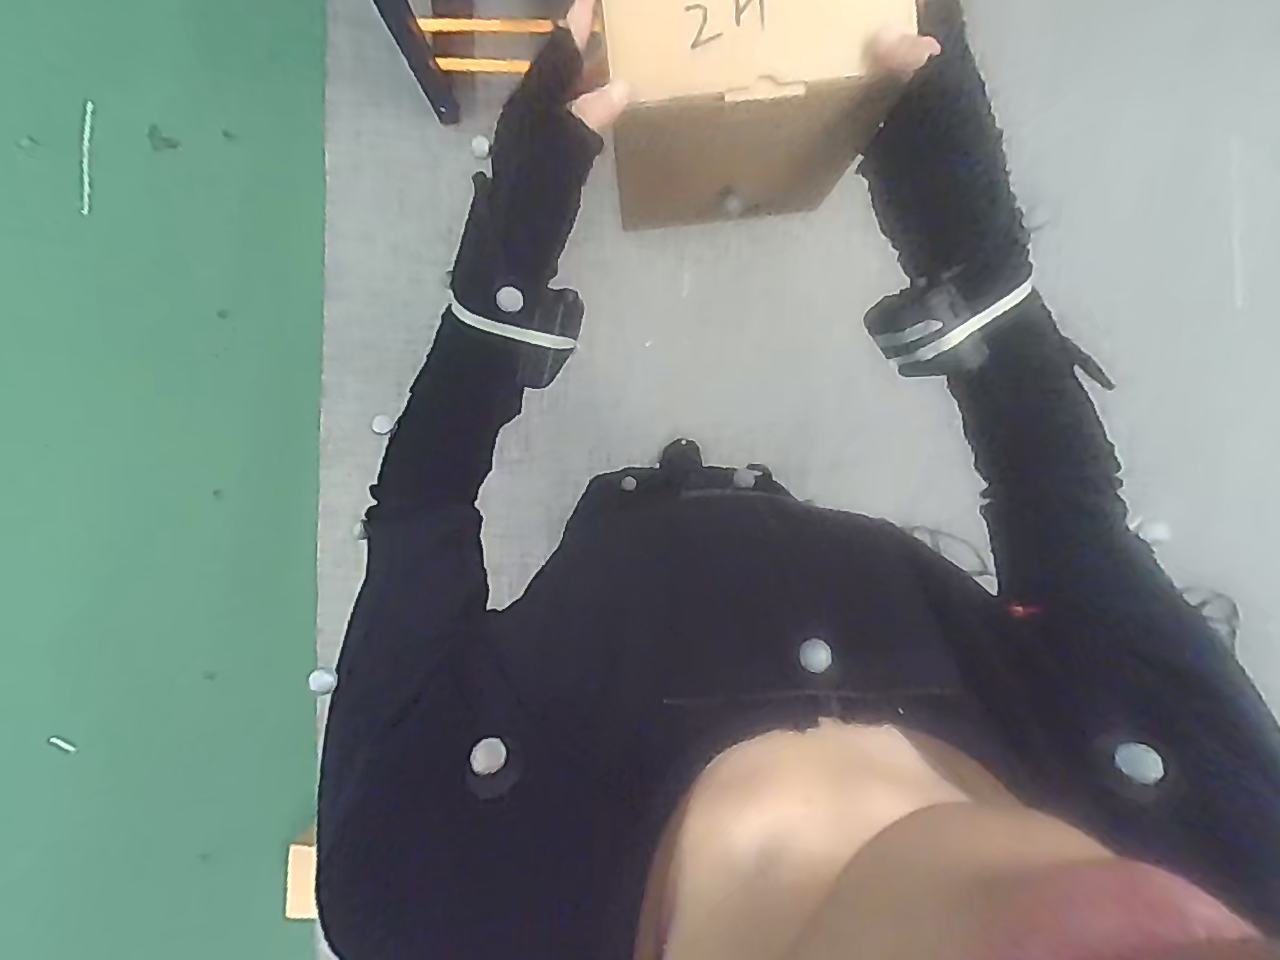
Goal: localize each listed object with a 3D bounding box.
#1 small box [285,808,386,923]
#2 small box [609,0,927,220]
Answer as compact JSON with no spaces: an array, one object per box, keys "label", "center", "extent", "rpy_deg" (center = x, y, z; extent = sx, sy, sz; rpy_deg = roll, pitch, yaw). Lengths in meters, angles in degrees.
[{"label":"small box","center":[-0.769,0.976,1.379],"extent":[0.168,0.176,0.179],"rpy_deg":[1,88,-1]},{"label":"small box","center":[0.064,-0.306,0.366],"extent":[0.168,0.176,0.179],"rpy_deg":[-6,92,1]}]
